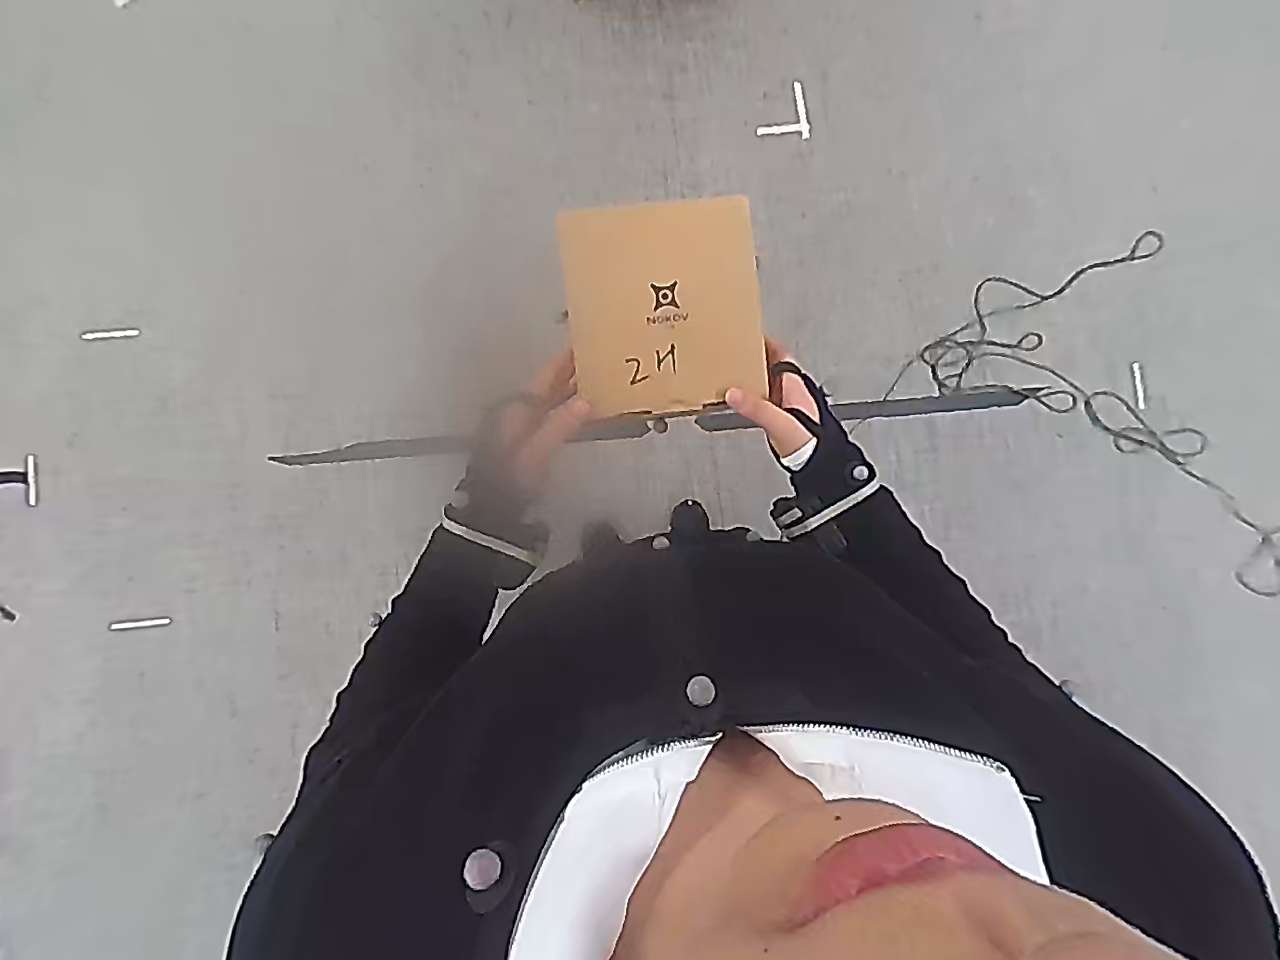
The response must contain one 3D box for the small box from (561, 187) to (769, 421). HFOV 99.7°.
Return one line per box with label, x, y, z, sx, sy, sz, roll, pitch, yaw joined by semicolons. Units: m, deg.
small box;0.014;-0.158;0.535;0.168;0.176;0.179;-7;94;-5
